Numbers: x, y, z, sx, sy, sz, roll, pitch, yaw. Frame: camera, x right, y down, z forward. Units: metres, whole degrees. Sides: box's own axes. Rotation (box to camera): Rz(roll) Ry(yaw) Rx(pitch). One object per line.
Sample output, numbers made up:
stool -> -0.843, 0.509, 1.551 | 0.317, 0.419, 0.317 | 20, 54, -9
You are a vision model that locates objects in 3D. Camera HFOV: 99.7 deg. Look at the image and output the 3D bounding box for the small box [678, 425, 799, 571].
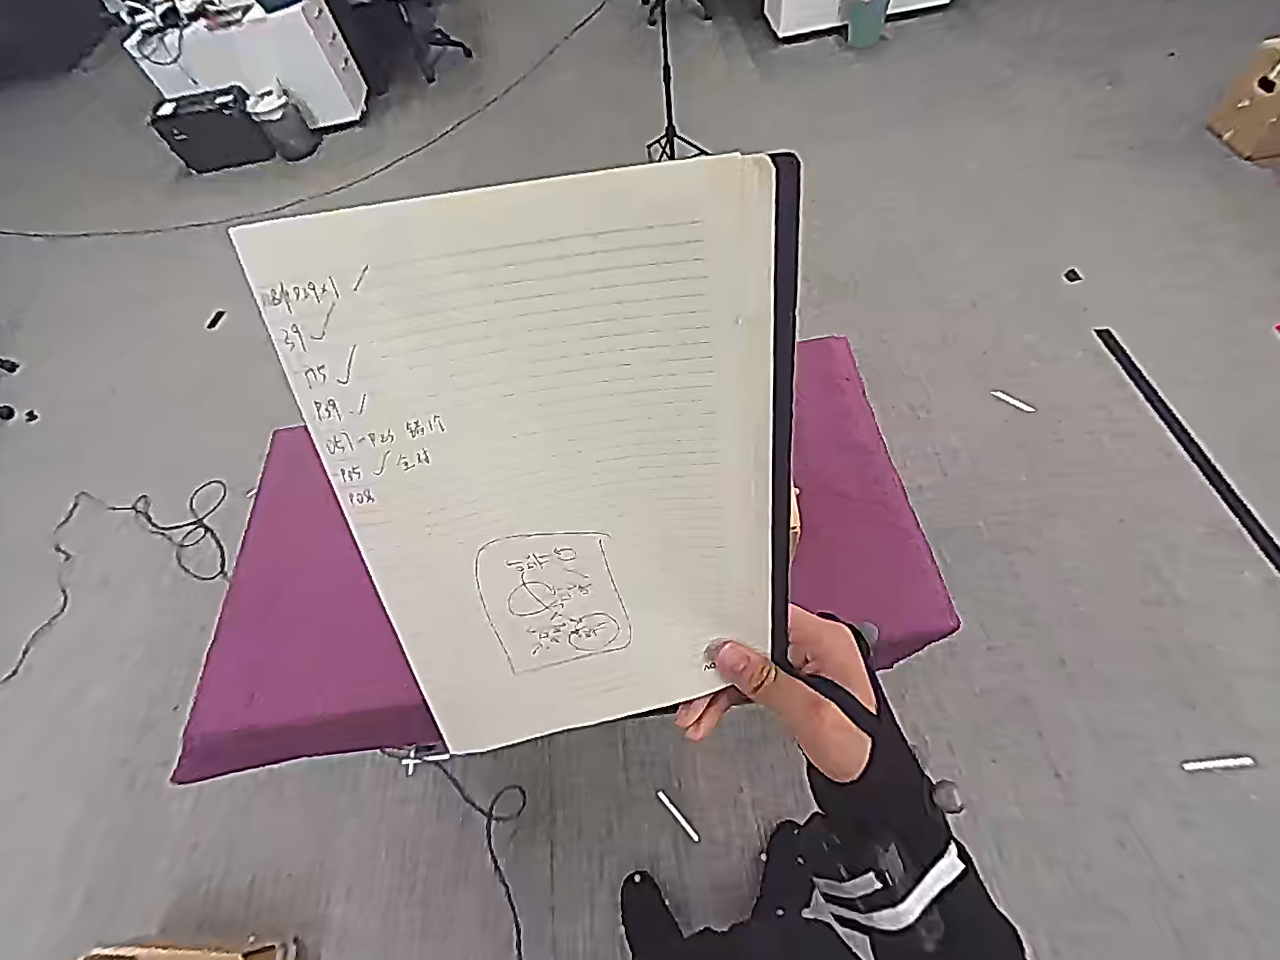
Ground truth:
small box -> 0.148, 0.037, 0.849 | 0.168, 0.176, 0.179 | -3, 59, 6
